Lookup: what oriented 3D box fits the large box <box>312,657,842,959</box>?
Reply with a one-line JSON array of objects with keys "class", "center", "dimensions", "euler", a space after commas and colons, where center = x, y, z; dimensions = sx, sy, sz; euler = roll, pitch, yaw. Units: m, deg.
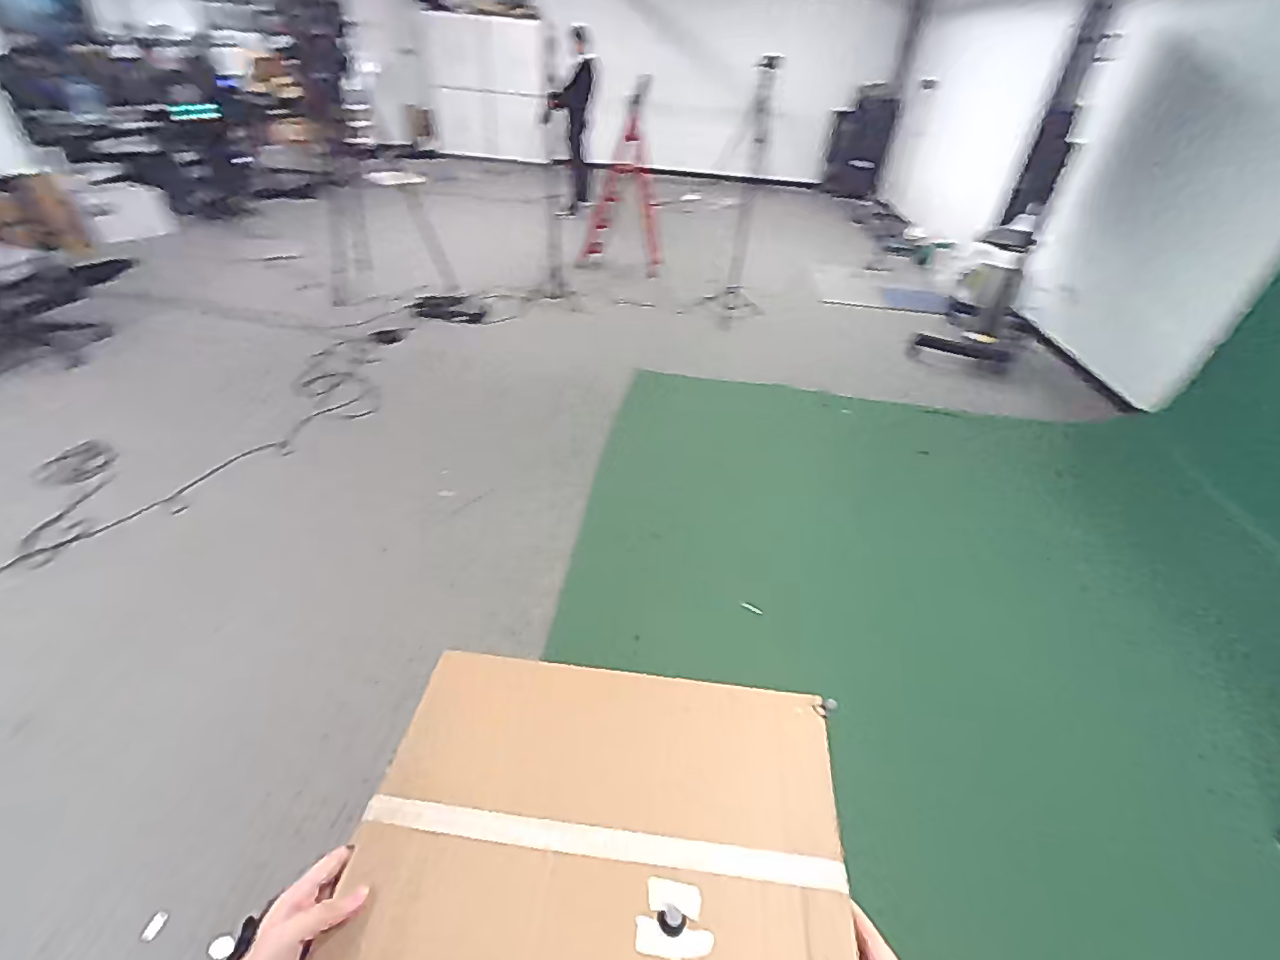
[{"class": "large box", "center": [-0.044, 0.419, 0.564], "dimensions": [0.408, 0.320, 0.320], "euler": [5, 42, 3]}]
